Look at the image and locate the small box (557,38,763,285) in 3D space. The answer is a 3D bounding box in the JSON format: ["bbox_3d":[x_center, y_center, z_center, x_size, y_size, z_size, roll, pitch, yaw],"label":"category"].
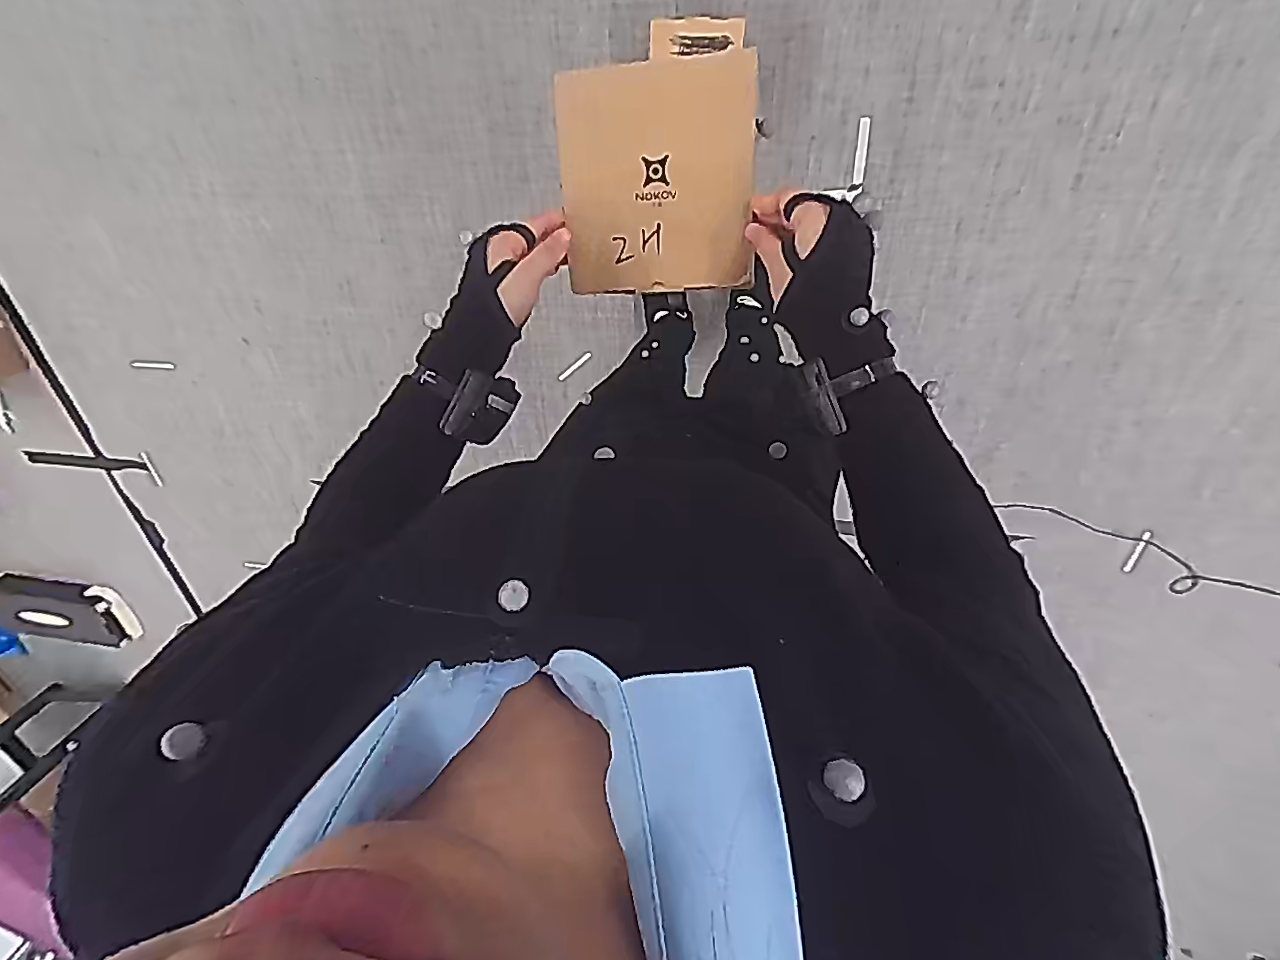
[{"bbox_3d":[0.029,-0.284,0.524,0.168,0.176,0.179,2,112,11],"label":"small box"}]

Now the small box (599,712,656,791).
[{"bbox_3d":[-0.039,0.931,1.860,0.168,0.176,0.179,2,121,9],"label":"small box"}]
